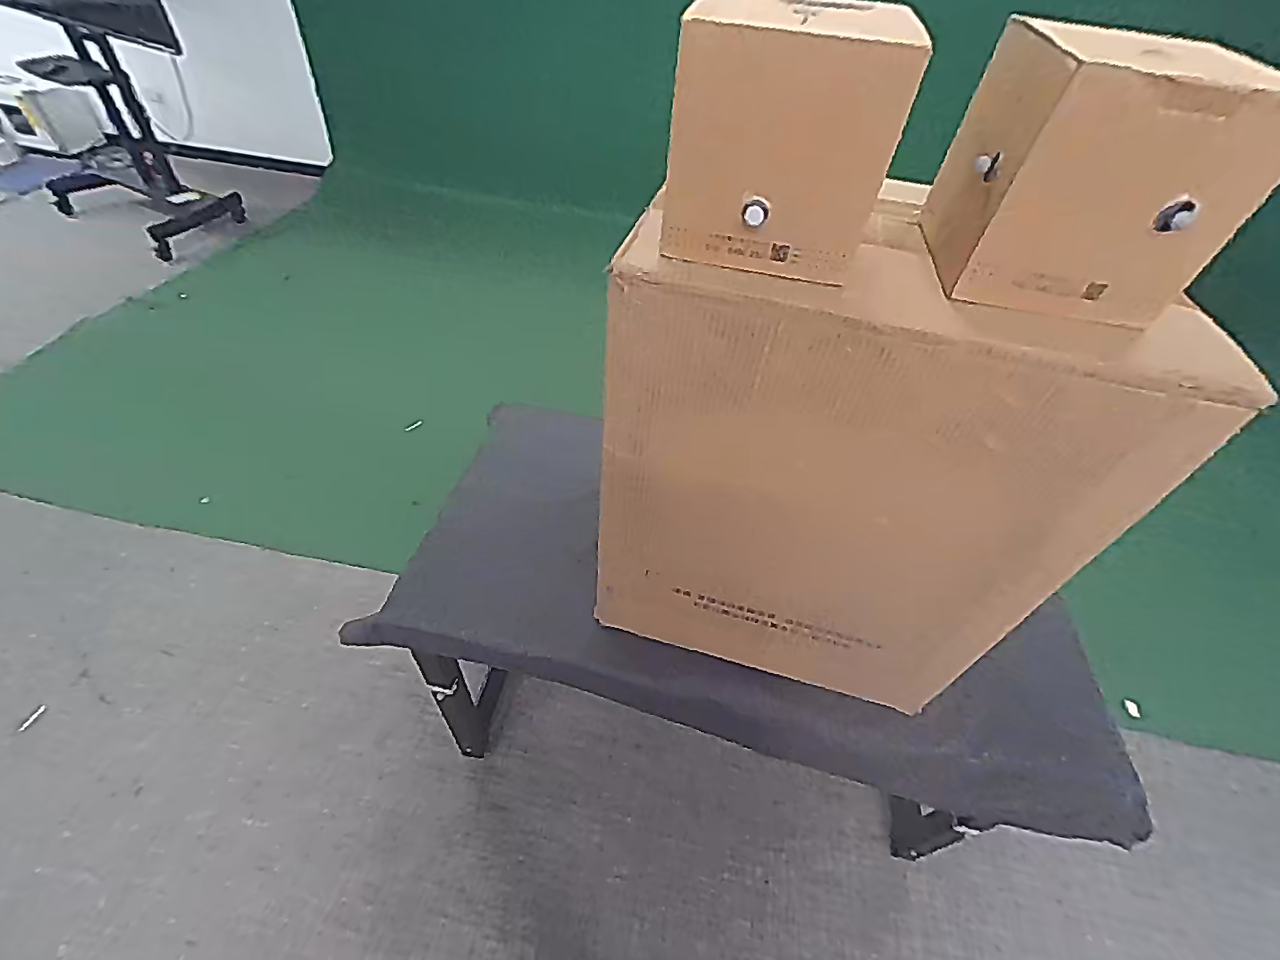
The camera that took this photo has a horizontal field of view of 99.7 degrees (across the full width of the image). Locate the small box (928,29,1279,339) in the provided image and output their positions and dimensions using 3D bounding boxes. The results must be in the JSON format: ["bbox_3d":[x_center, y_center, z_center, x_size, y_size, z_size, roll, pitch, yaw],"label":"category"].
[{"bbox_3d":[0.375,-0.243,0.453,0.168,0.176,0.179,12,48,1],"label":"small box"}]

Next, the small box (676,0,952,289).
[{"bbox_3d":[0.133,-0.291,0.459,0.168,0.176,0.179,14,49,8],"label":"small box"}]
